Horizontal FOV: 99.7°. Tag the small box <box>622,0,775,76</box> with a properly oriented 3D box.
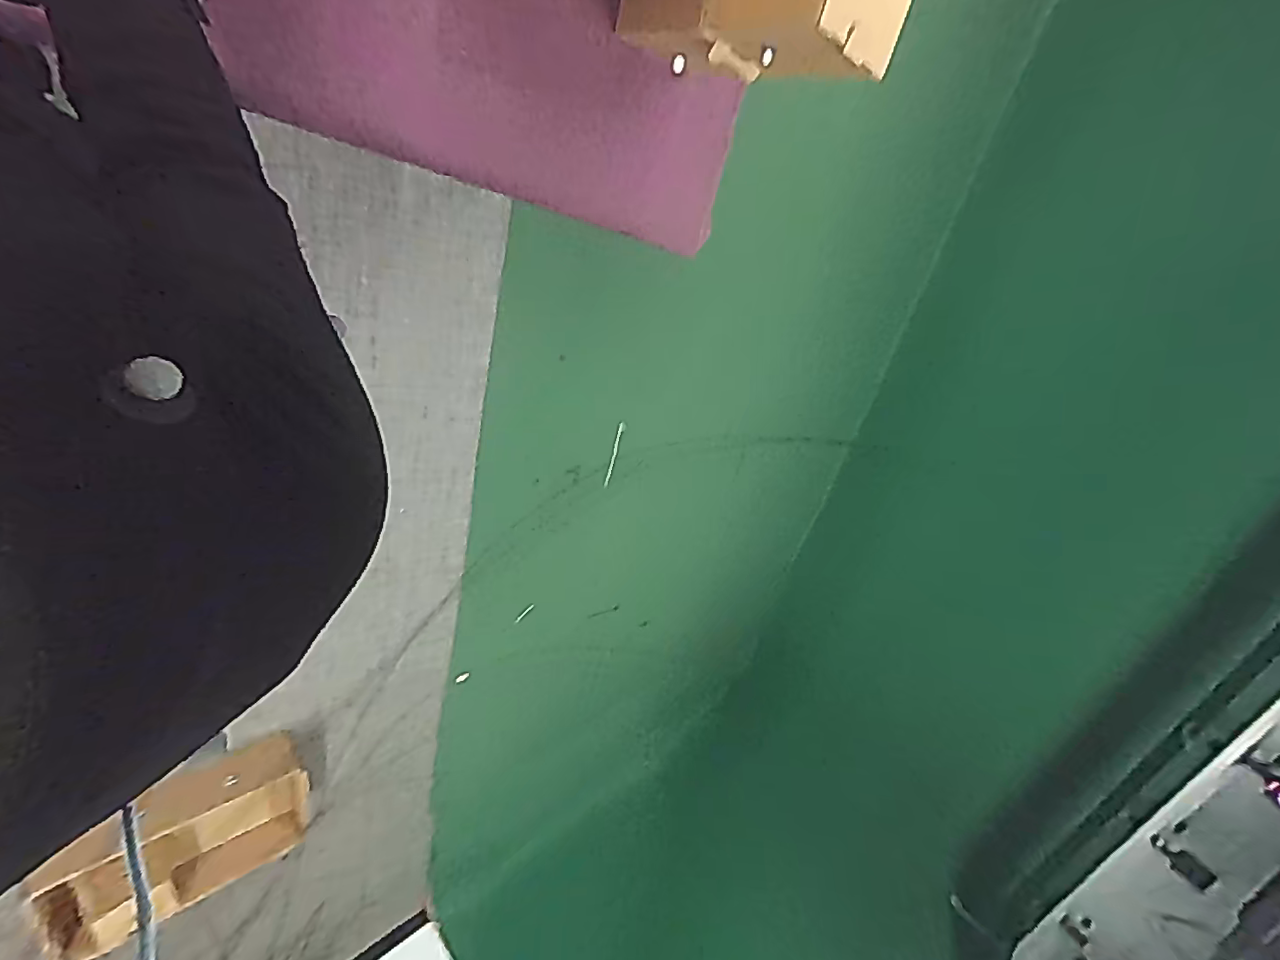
[{"bbox_3d":[0.097,-0.671,0.719,0.168,0.176,0.179,-13,127,-42],"label":"small box"}]

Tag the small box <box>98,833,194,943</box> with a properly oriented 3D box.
[{"bbox_3d":[-1.465,1.199,1.604,0.168,0.176,0.179,-20,132,-42],"label":"small box"}]

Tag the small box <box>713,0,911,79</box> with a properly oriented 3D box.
[{"bbox_3d":[0.209,-0.598,0.625,0.168,0.176,0.179,-13,128,-43],"label":"small box"}]
